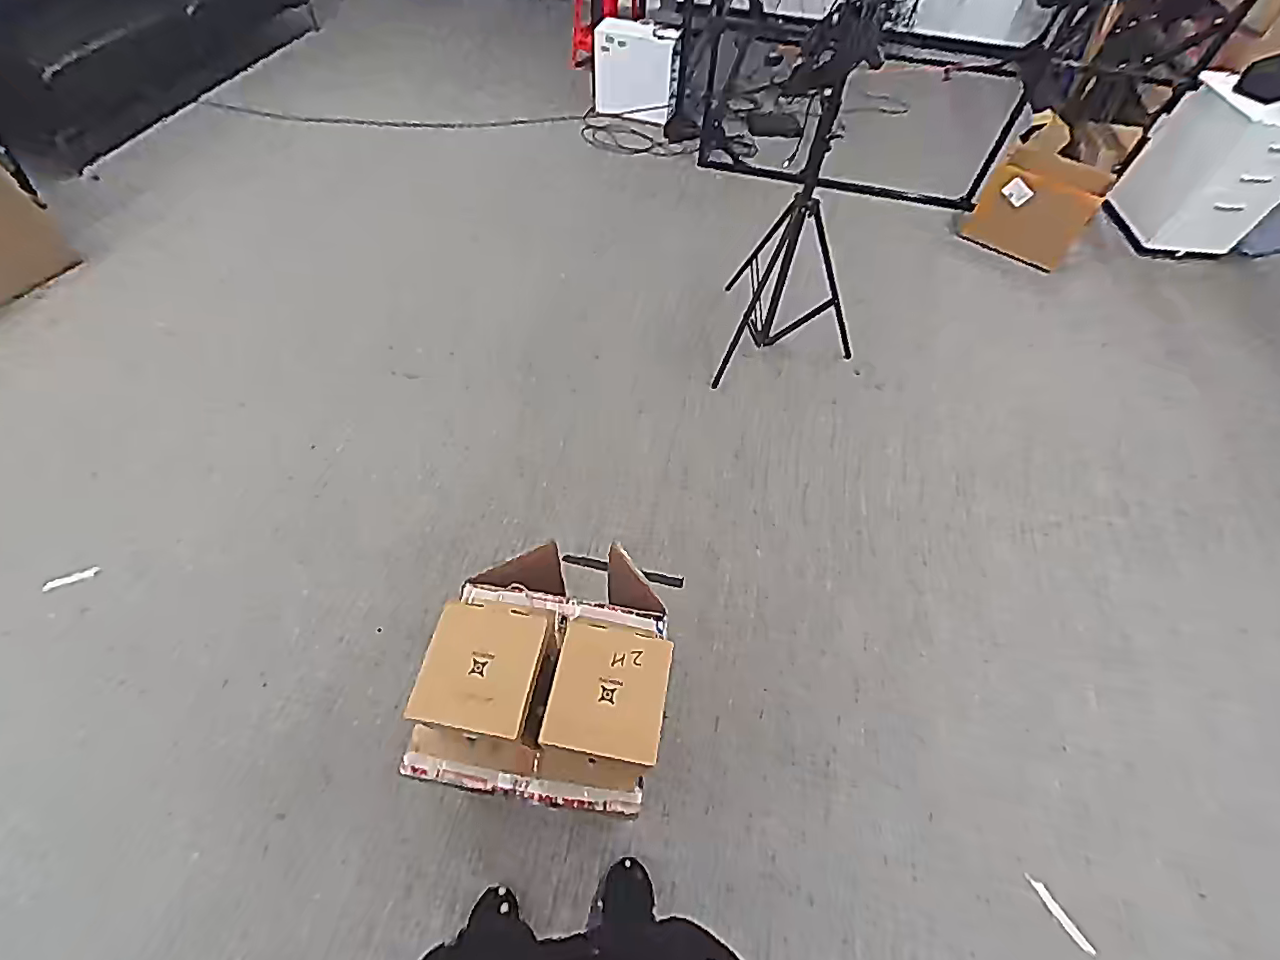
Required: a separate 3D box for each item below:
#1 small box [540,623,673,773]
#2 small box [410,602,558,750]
[{"bbox_3d":[-0.047,0.348,0.850,0.168,0.176,0.179,10,58,2],"label":"small box"},{"bbox_3d":[-0.232,0.317,0.863,0.168,0.176,0.179,8,60,4],"label":"small box"}]
